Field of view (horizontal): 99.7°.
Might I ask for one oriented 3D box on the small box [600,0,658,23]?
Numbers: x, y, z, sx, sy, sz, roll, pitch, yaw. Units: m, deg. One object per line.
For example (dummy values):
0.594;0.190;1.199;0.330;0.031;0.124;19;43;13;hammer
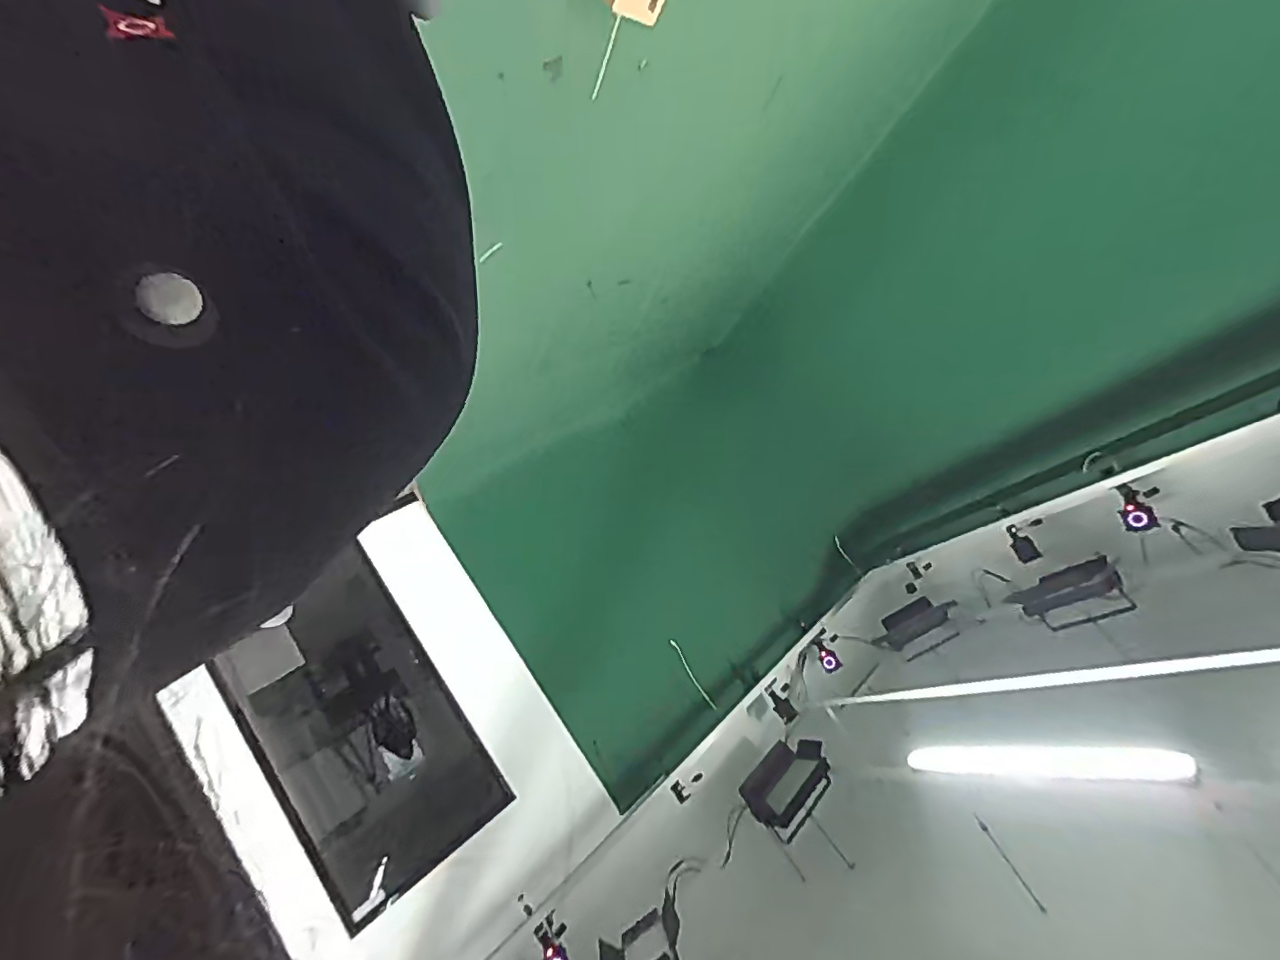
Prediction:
-0.040;-1.377;1.433;0.179;0.176;0.168;-26;167;-43;small box
